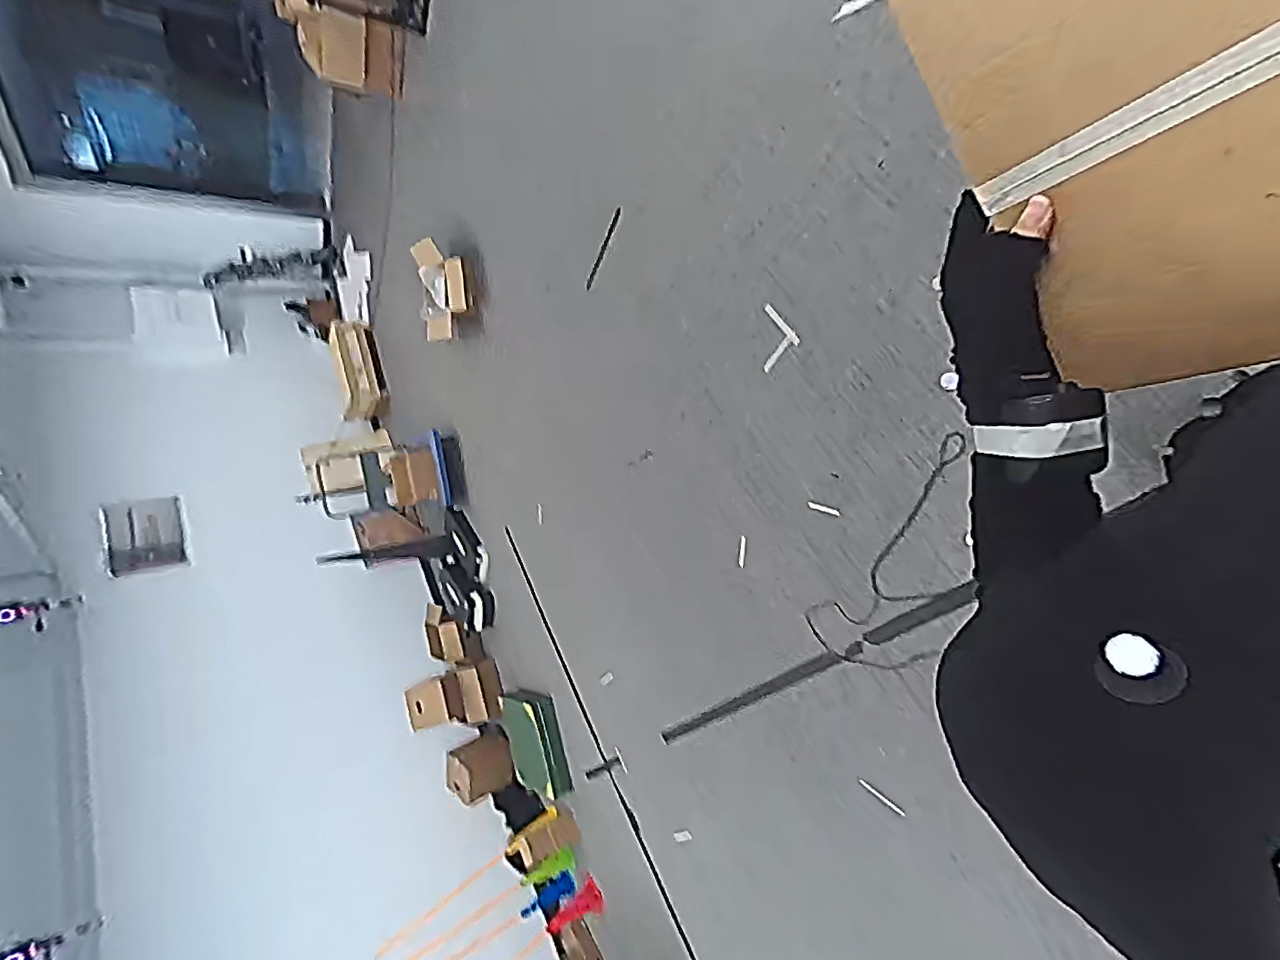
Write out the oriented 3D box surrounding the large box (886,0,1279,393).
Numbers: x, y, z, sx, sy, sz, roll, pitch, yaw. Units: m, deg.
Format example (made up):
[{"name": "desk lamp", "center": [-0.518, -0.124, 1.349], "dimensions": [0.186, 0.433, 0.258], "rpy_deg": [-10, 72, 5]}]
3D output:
[{"name": "large box", "center": [0.427, -0.297, 0.267], "dimensions": [0.320, 0.320, 0.408], "rpy_deg": [54, 151, -14]}]
